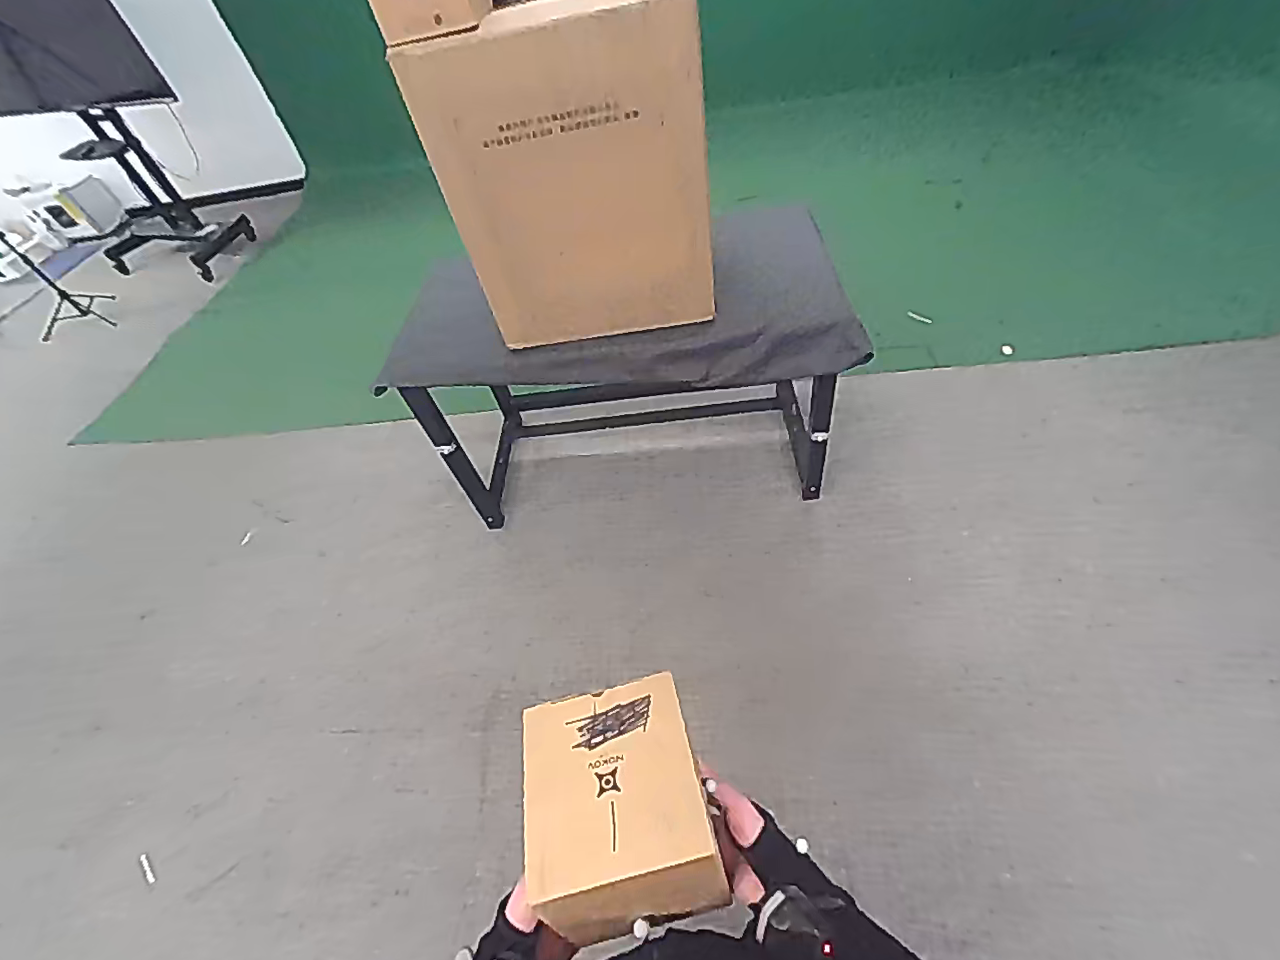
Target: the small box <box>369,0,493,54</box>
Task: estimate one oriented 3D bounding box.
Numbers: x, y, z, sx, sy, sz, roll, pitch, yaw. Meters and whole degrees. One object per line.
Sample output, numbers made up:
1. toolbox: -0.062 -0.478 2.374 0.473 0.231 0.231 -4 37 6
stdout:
1. small box: -0.368 -0.861 0.928 0.168 0.176 0.179 -6 50 7
